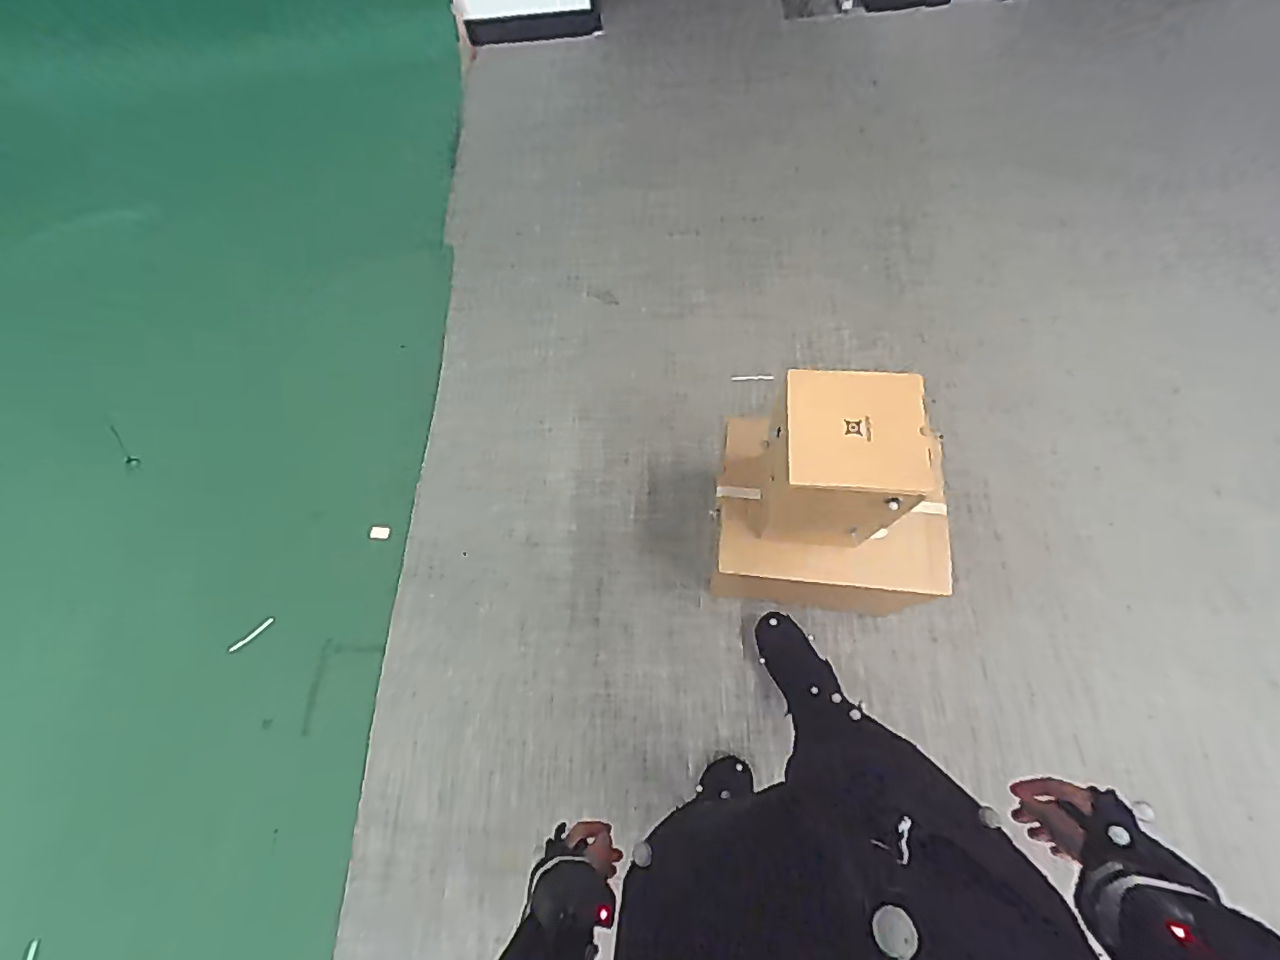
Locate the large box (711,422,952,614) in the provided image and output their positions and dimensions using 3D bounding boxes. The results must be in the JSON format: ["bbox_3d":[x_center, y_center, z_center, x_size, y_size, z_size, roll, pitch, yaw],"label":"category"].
[{"bbox_3d":[0.365,0.094,1.140,0.408,0.320,0.320,5,71,5],"label":"large box"}]

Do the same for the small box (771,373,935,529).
[{"bbox_3d":[0.282,-0.034,0.758,0.179,0.176,0.168,3,70,5],"label":"small box"}]
